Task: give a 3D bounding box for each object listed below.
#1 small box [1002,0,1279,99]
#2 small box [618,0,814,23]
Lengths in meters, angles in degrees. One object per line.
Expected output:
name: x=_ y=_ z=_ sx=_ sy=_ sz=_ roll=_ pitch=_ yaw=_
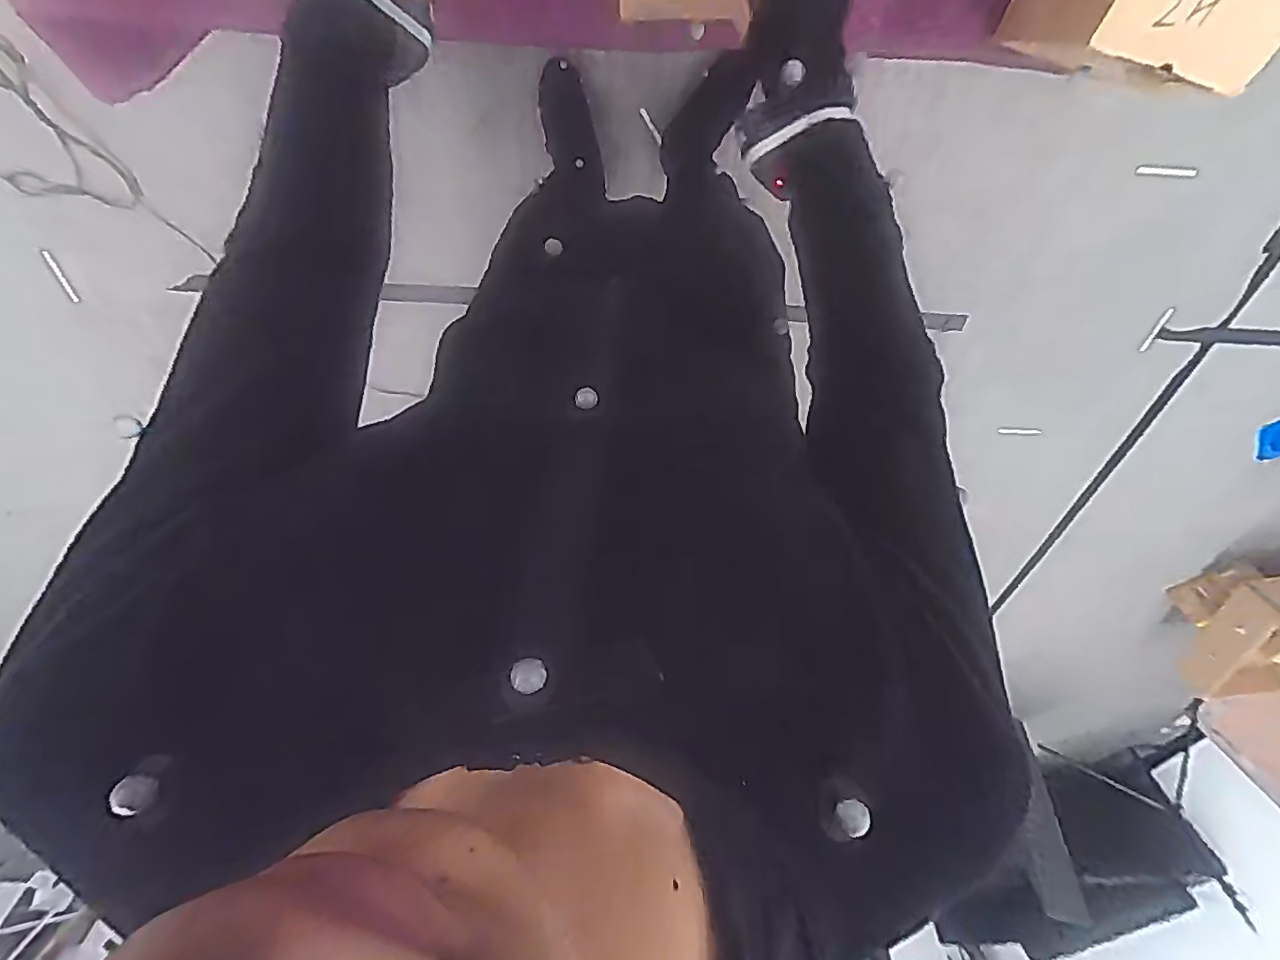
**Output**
small box: x=0.480 y=-0.477 z=0.487 sx=0.168 sy=0.176 sz=0.179 roll=10 pitch=130 yaw=-9
small box: x=0.061 y=-0.503 z=0.457 sx=0.168 sy=0.176 sz=0.179 roll=-1 pitch=132 yaw=0
